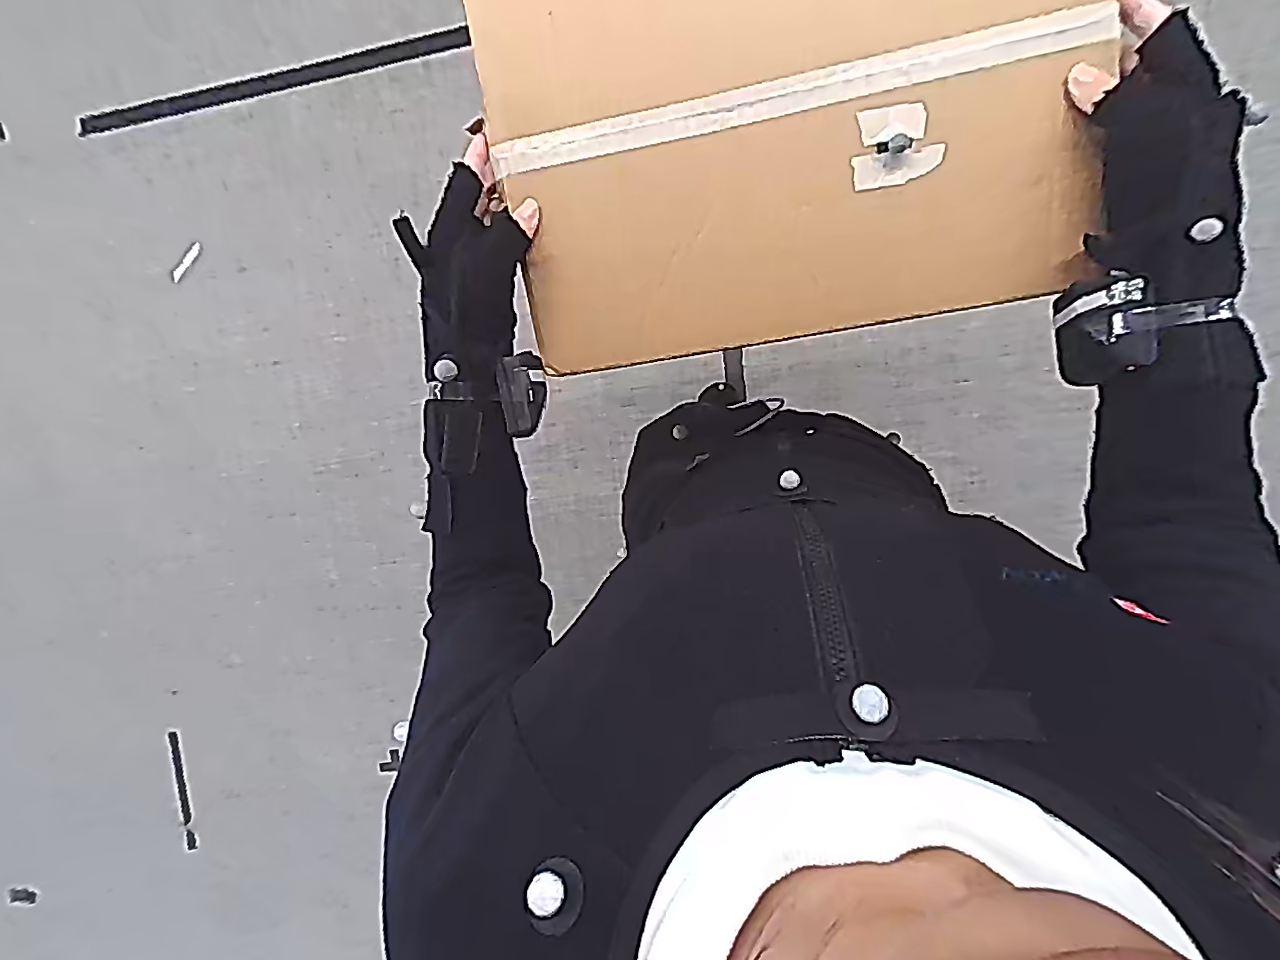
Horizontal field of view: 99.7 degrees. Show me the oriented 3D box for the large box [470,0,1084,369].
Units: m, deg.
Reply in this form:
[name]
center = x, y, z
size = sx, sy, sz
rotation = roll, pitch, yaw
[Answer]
[large box]
center = 0.105, -0.304, 0.521
size = 0.408, 0.320, 0.320
rotation = -8, 105, 7
